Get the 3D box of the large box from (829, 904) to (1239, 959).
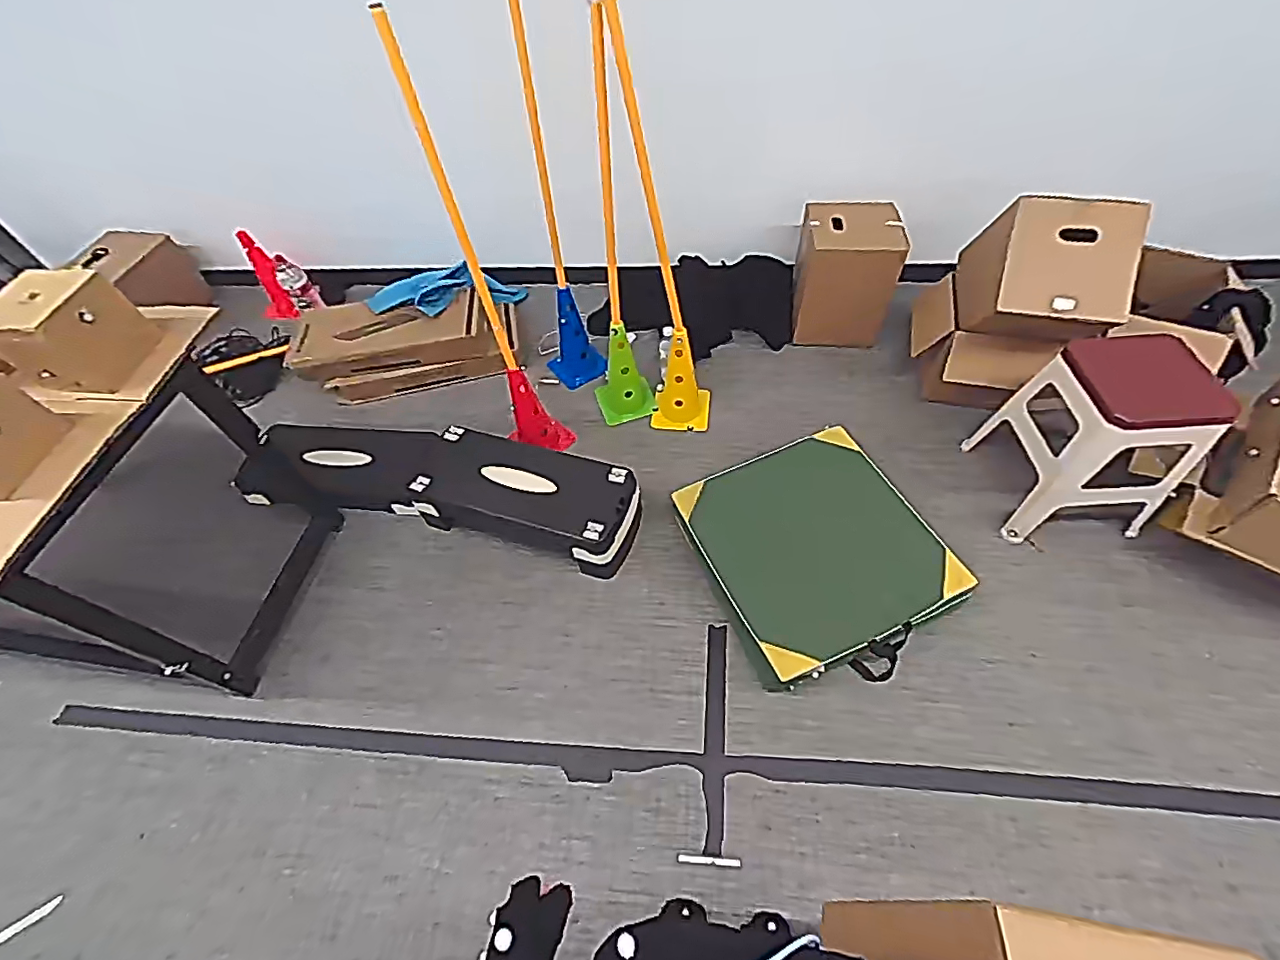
[{"bbox_3d":[0.467,0.726,0.640,0.320,0.408,0.320,13,51,-2],"label":"large box"}]
